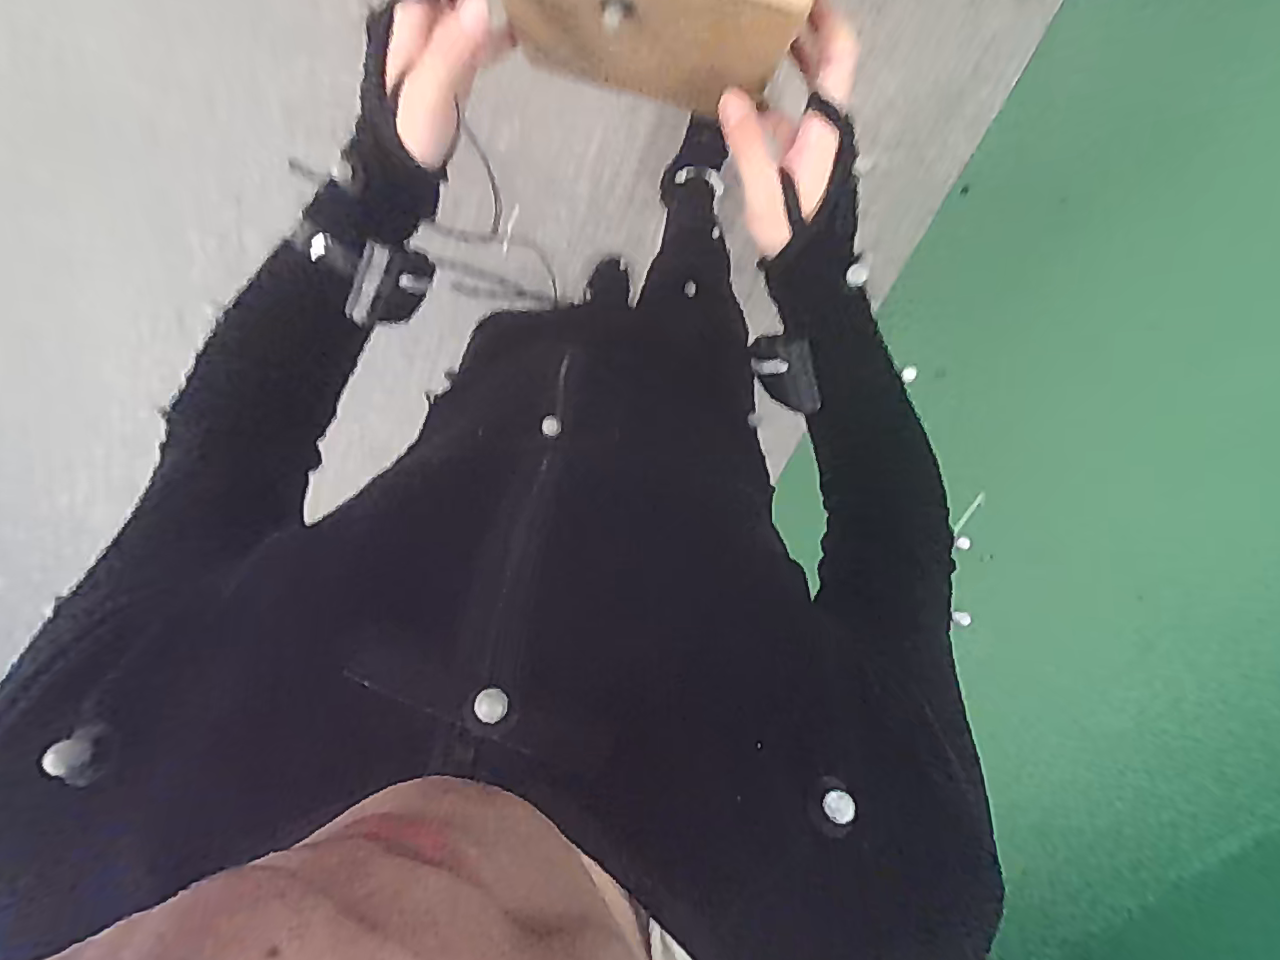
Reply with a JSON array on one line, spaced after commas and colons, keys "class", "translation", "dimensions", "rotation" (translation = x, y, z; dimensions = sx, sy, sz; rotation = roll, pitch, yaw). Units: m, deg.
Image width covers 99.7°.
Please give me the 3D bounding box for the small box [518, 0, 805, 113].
[{"class": "small box", "translation": [0.020, -0.350, 0.316], "dimensions": [0.179, 0.176, 0.168], "rotation": [13, 106, -4]}]
